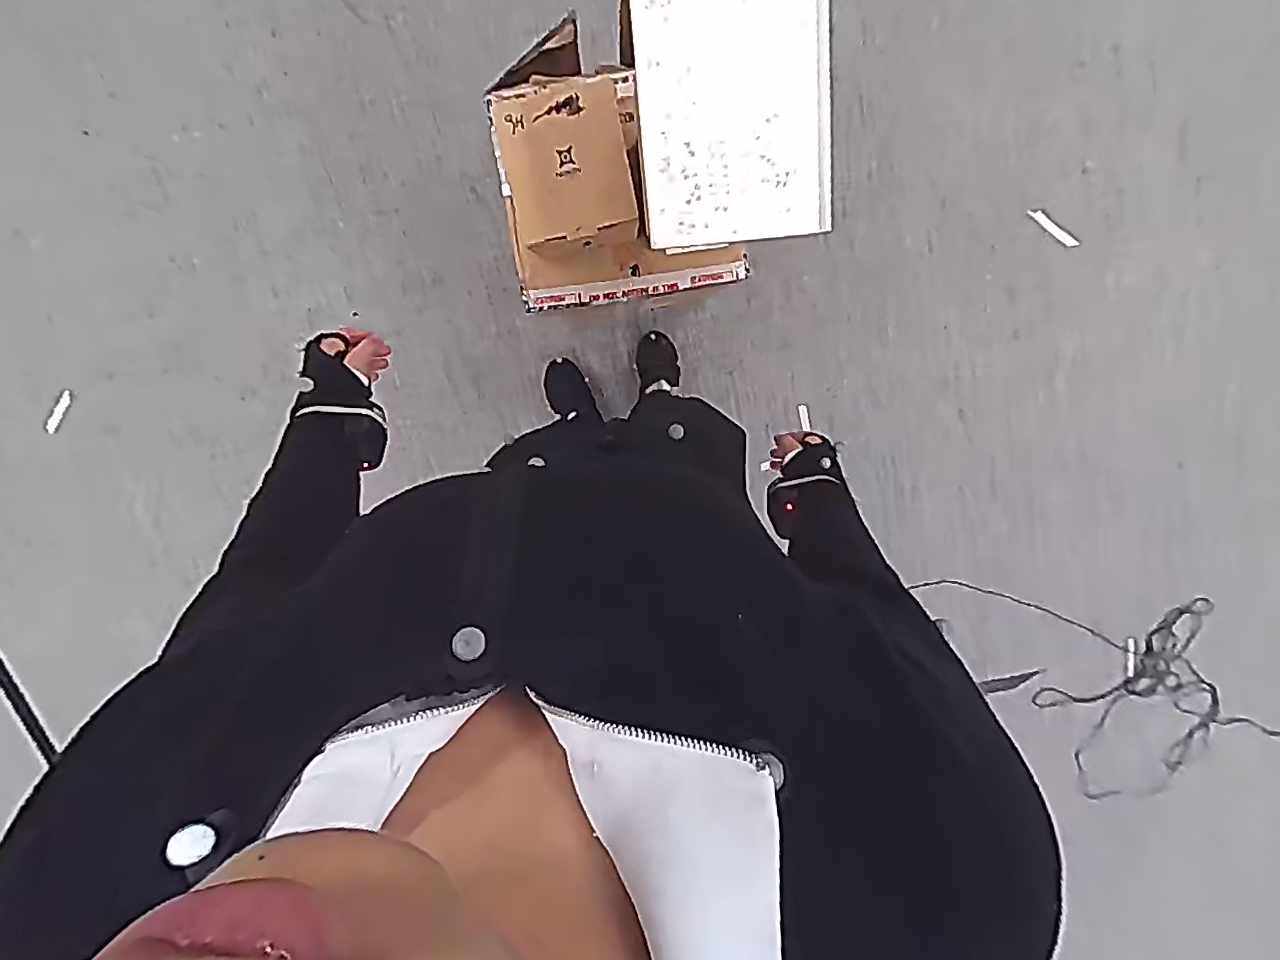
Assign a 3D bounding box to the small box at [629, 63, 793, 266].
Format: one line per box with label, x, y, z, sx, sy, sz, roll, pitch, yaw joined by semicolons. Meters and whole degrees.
small box;0.079;-0.372;0.667;0.168;0.176;0.179;-7;106;-3
